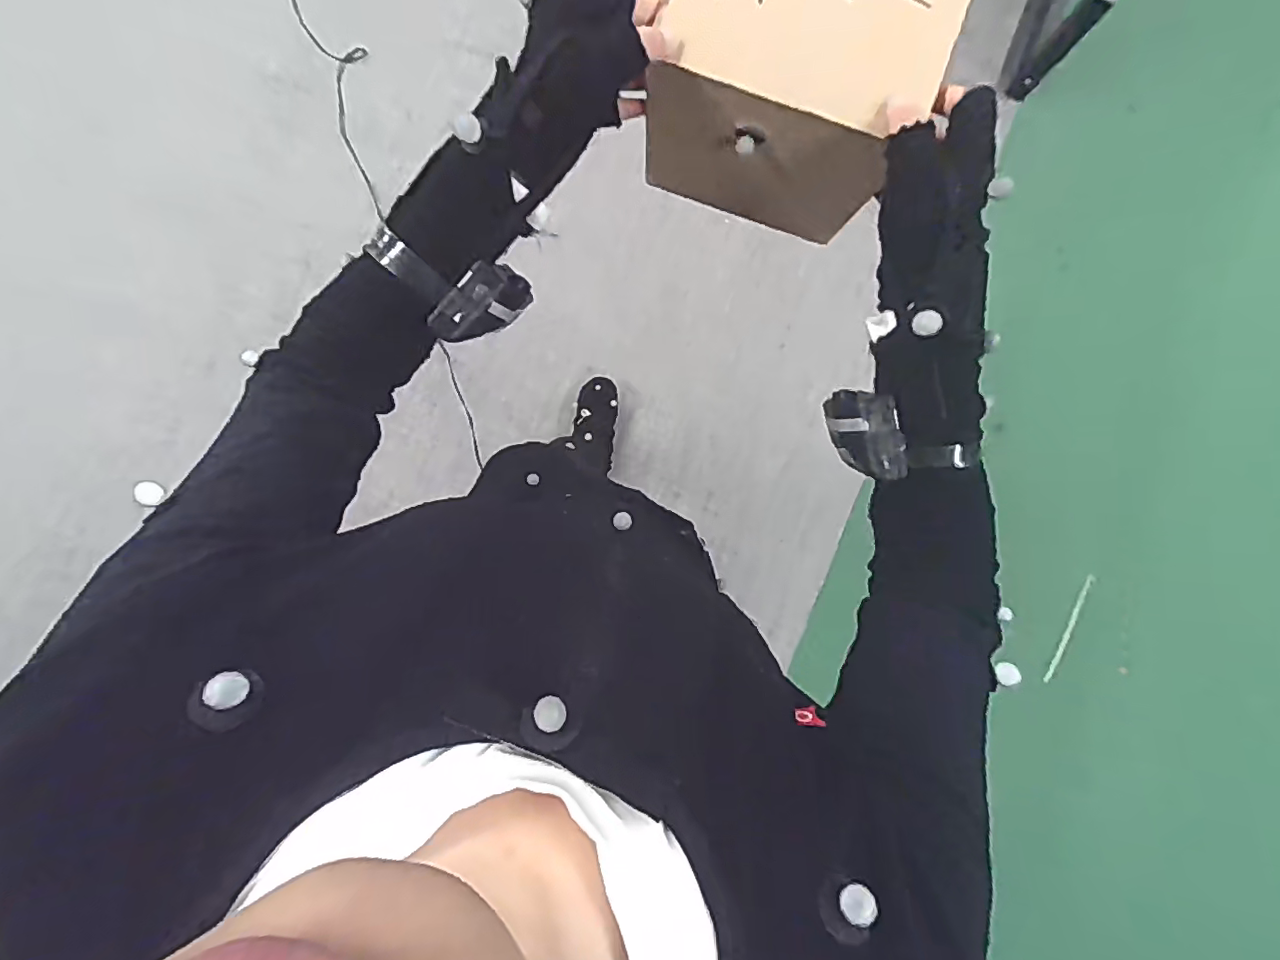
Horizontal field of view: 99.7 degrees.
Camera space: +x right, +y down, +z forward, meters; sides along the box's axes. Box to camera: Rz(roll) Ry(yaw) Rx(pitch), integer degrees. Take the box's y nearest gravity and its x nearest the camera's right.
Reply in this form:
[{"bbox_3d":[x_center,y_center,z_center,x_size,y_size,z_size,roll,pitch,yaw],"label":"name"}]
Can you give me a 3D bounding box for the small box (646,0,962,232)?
[{"bbox_3d":[0.111,-0.315,0.405,0.179,0.176,0.168,19,94,-1],"label":"small box"}]
